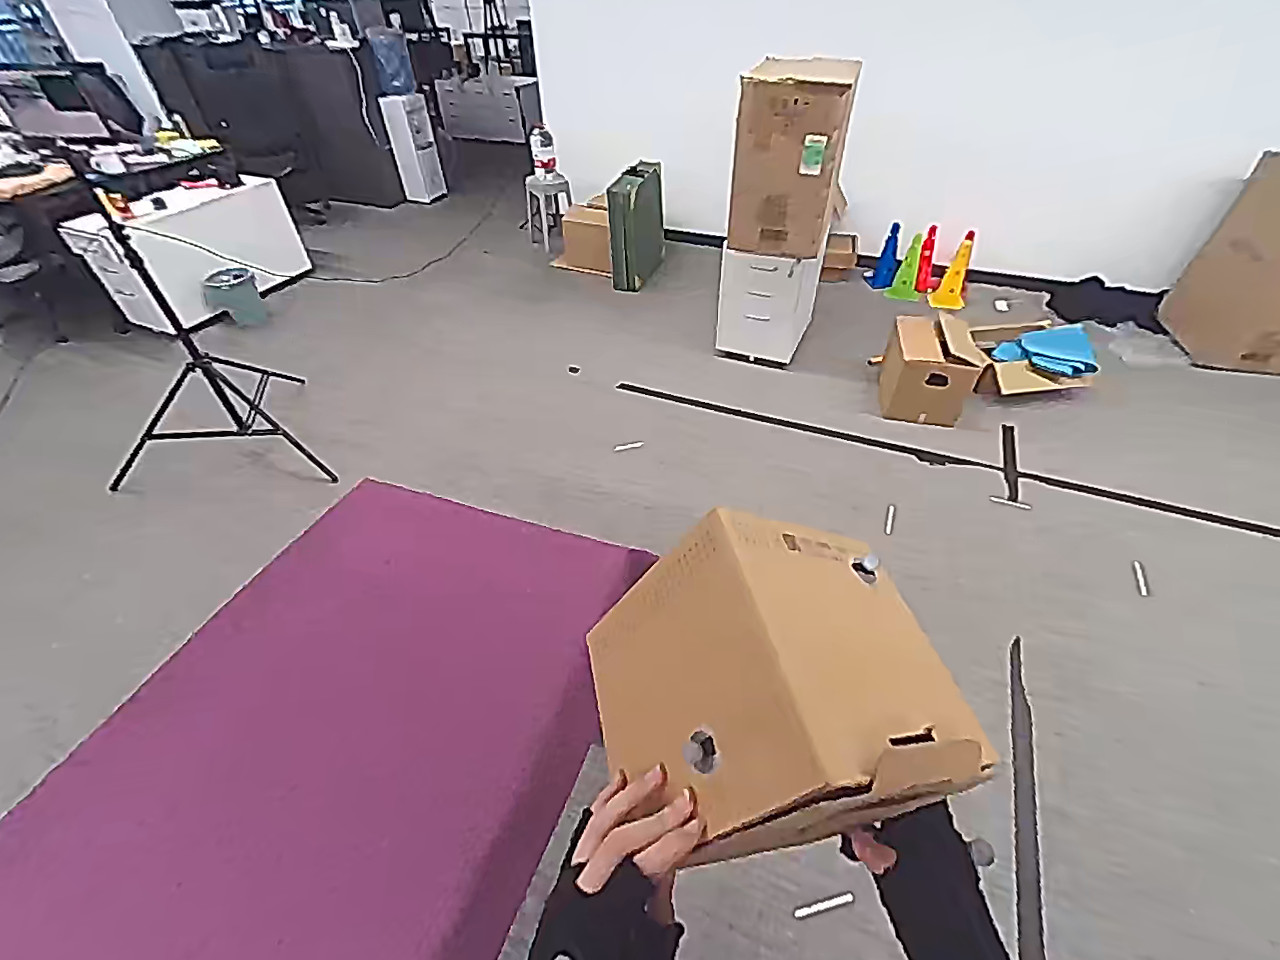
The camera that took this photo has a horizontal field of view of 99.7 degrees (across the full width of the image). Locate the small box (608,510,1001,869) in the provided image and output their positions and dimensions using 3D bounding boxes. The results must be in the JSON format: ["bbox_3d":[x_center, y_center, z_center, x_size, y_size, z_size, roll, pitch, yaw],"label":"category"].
[{"bbox_3d":[0.093,0.144,0.384,0.168,0.179,0.176,15,41,-32],"label":"small box"}]
